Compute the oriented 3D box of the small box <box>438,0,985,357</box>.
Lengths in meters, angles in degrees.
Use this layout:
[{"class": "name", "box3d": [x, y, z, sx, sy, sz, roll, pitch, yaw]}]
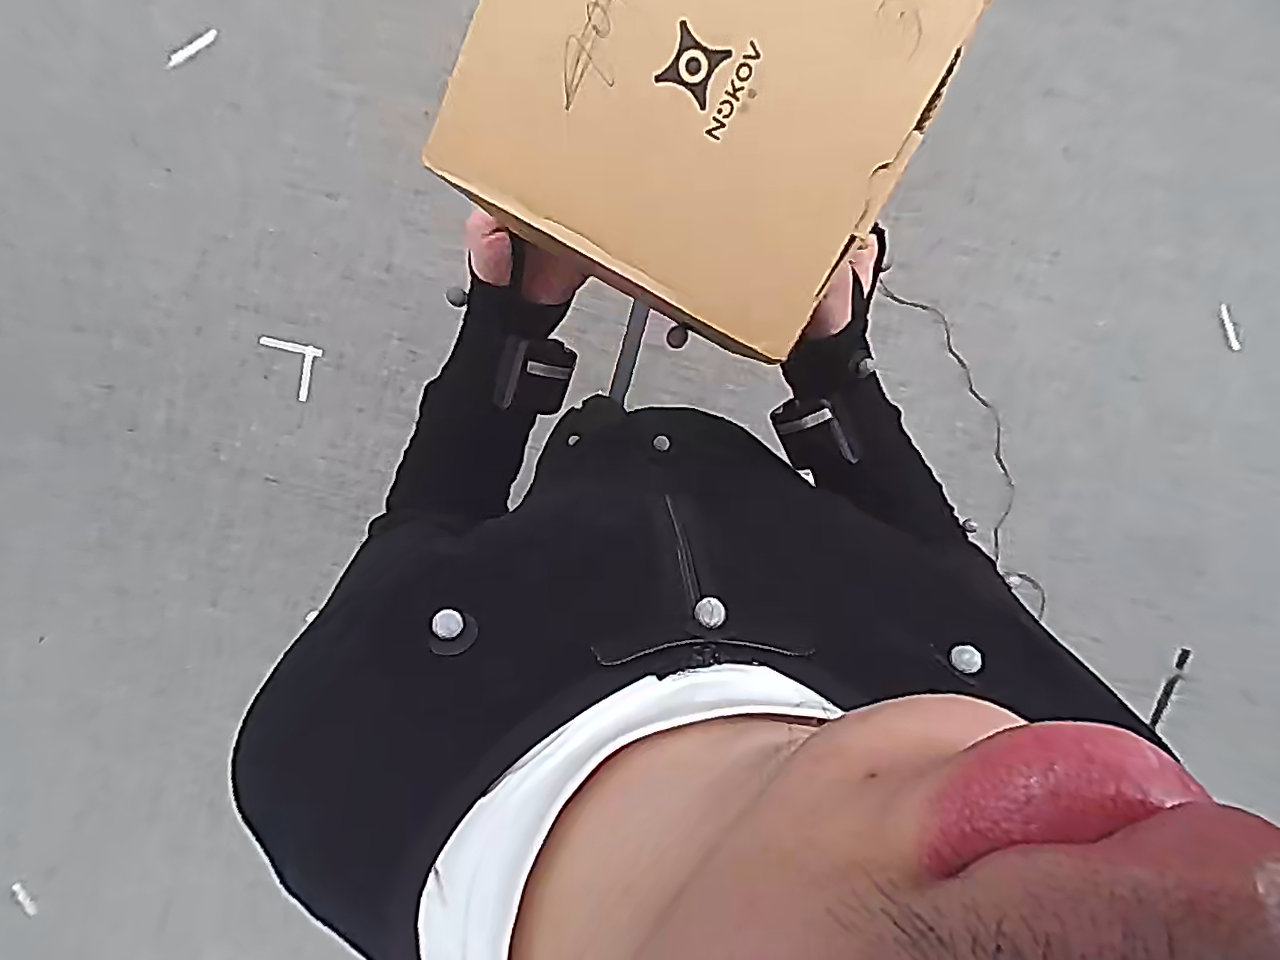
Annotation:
[{"class": "small box", "box3d": [0.027, -0.185, 0.299, 0.179, 0.176, 0.168, 26, 103, -6]}]
